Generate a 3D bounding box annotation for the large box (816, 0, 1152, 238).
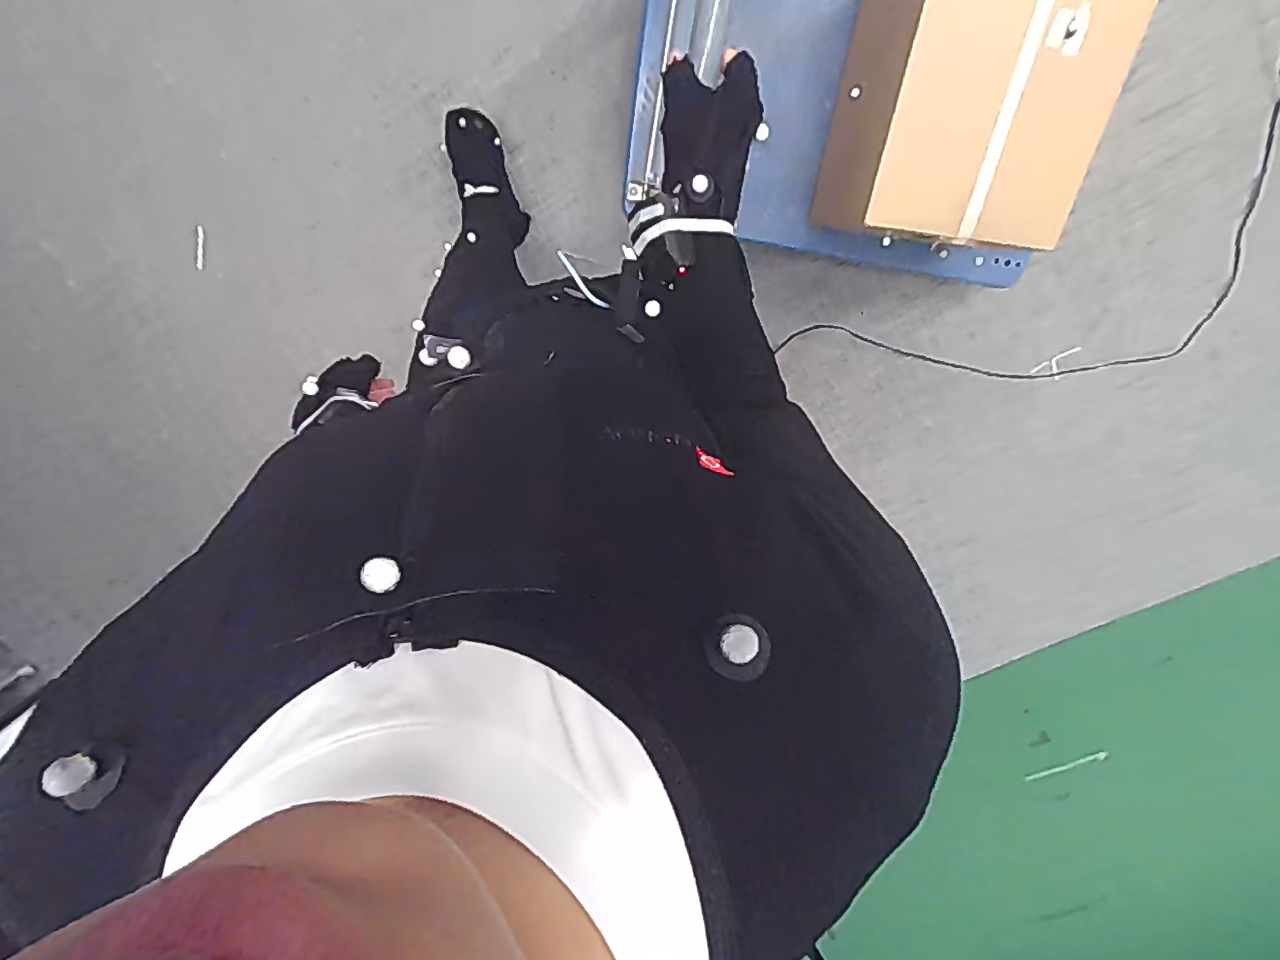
[{"bbox_3d":[0.527,-0.636,0.896,0.320,0.320,0.408,7,114,-4],"label":"large box"}]
